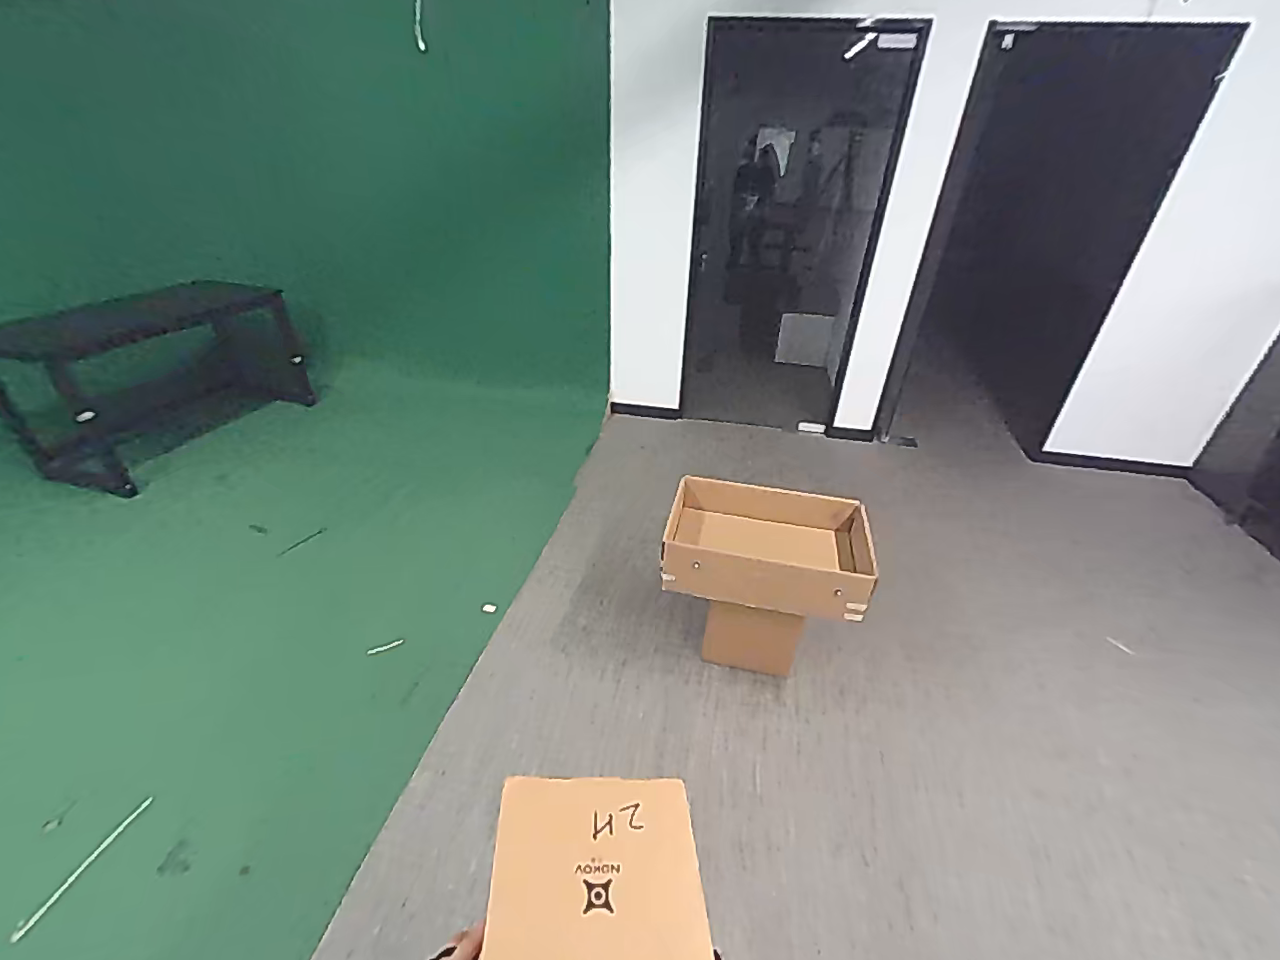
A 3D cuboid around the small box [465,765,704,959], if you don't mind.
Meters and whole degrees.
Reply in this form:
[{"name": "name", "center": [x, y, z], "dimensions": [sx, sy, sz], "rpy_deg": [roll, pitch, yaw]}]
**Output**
[{"name": "small box", "center": [-0.051, 0.371, 0.447], "dimensions": [0.168, 0.176, 0.179], "rpy_deg": [7, 27, -8]}]
